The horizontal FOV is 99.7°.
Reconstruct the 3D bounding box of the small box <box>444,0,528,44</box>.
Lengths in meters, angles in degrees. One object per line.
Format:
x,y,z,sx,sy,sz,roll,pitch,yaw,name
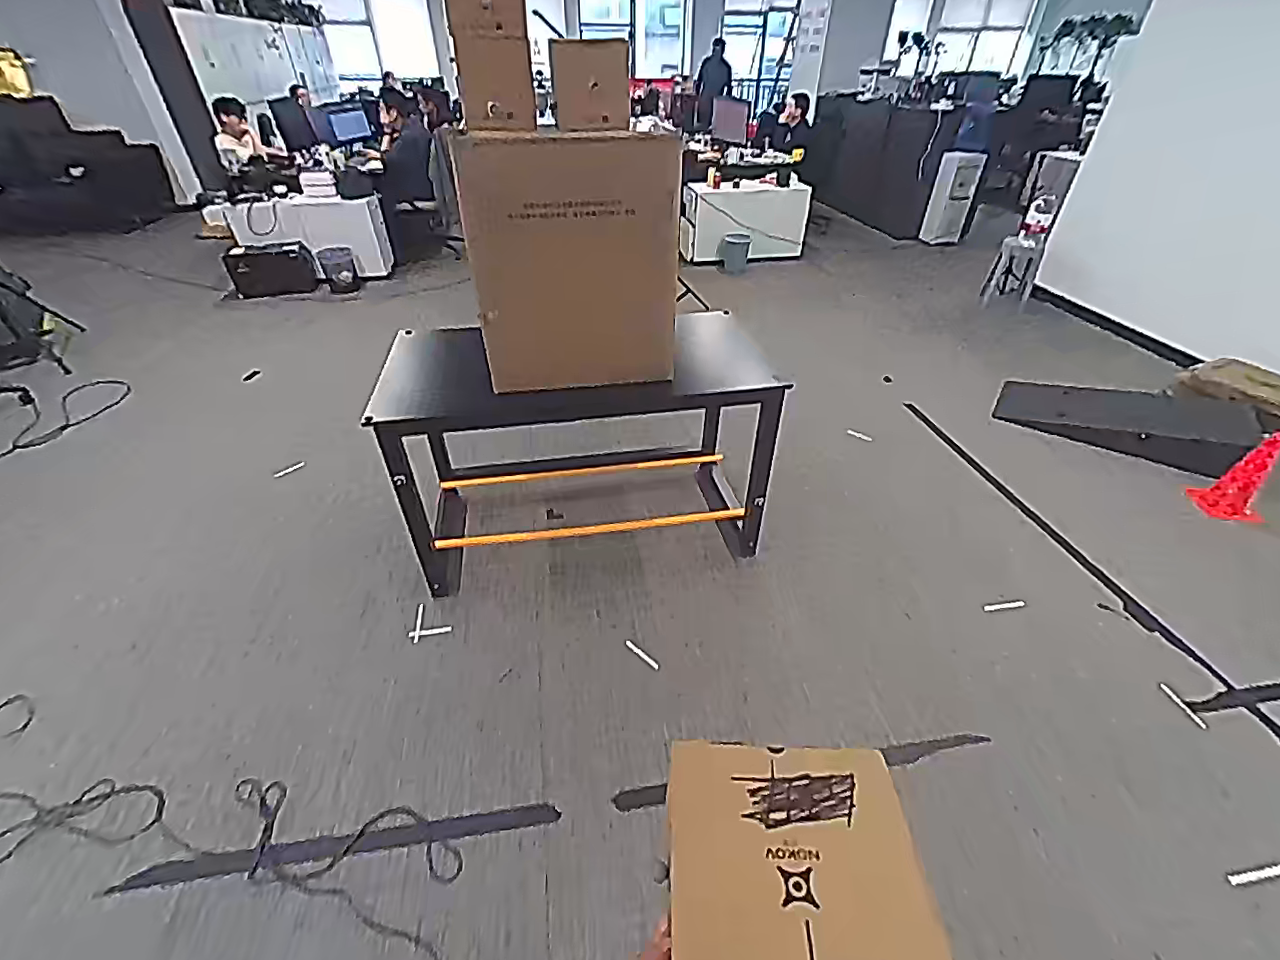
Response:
-0.336,-1.046,1.161,0.168,0.176,0.179,-8,39,-10,small box

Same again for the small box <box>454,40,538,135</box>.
-0.336,-0.918,1.266,0.168,0.176,0.179,-9,41,-12,small box

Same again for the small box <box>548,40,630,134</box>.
-0.119,-0.923,1.274,0.168,0.176,0.179,-9,40,-10,small box
